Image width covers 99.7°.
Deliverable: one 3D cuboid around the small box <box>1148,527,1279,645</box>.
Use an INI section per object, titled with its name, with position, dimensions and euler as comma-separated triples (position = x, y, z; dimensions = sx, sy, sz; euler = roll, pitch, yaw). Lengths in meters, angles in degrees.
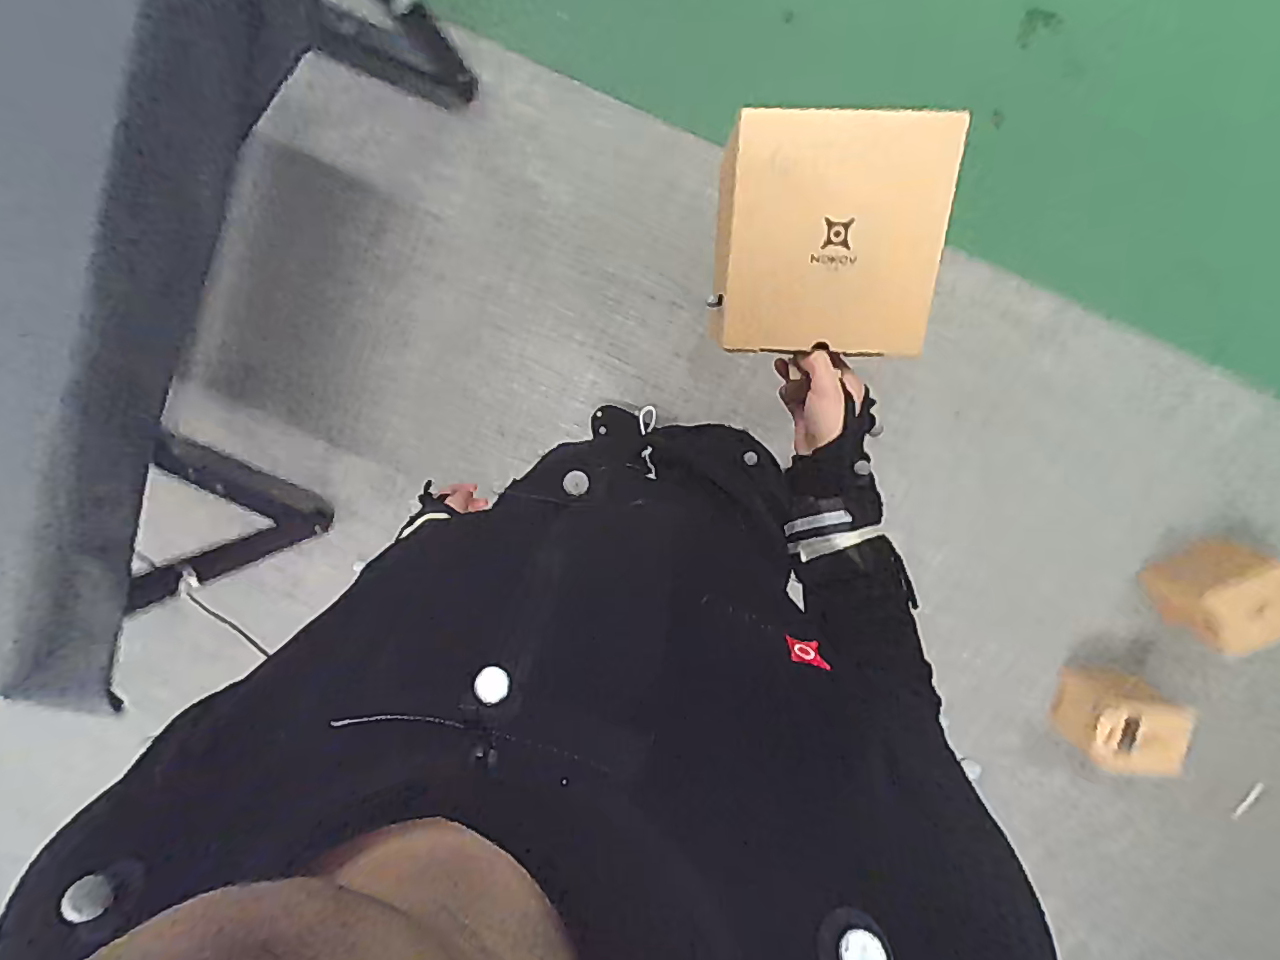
[small box]
position = 1.297, 0.229, 1.205
dimensions = 0.179, 0.176, 0.168
euler = -30, 98, 9
